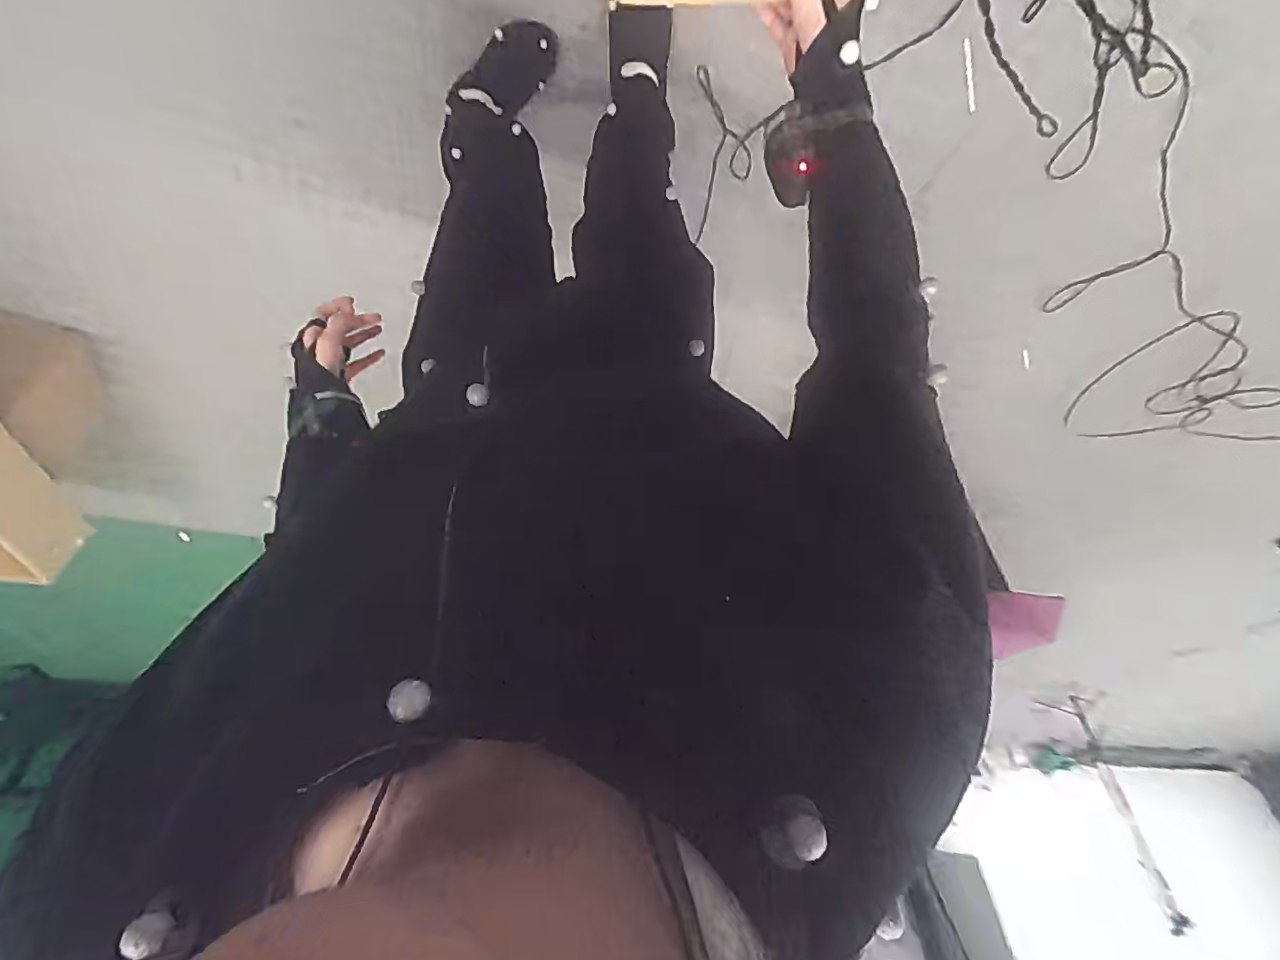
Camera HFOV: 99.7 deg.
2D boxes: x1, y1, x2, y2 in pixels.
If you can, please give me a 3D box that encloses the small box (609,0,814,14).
[{"bbox_3d":[0.053,-0.498,0.418,0.179,0.176,0.168,-7,151,-8],"label":"small box"}]
